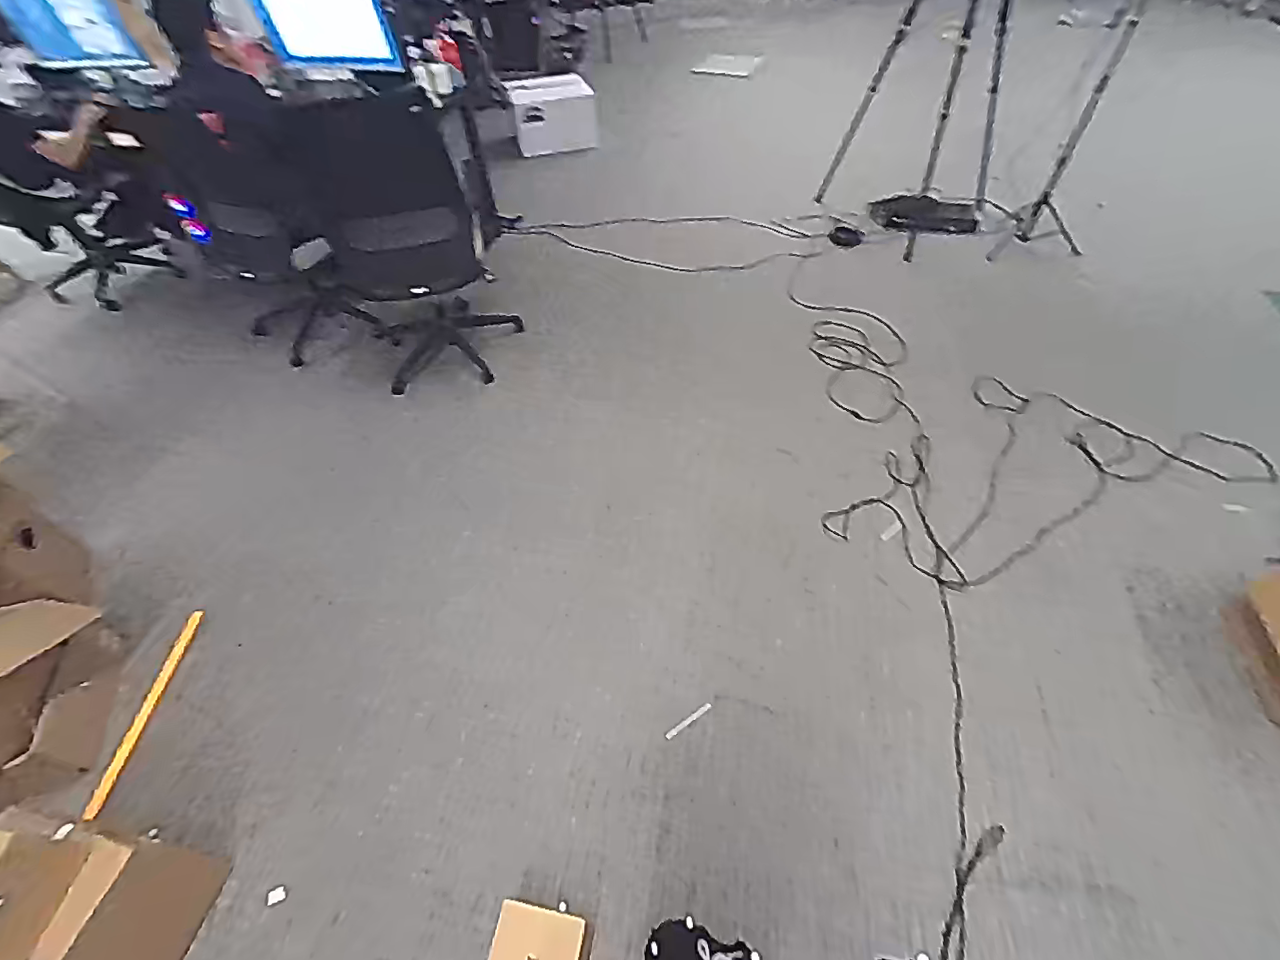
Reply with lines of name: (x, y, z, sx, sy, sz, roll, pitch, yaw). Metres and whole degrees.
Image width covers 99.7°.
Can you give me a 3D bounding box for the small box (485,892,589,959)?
small box: (-0.198, 0.921, 1.040, 0.168, 0.176, 0.179, 8, 52, 8)
